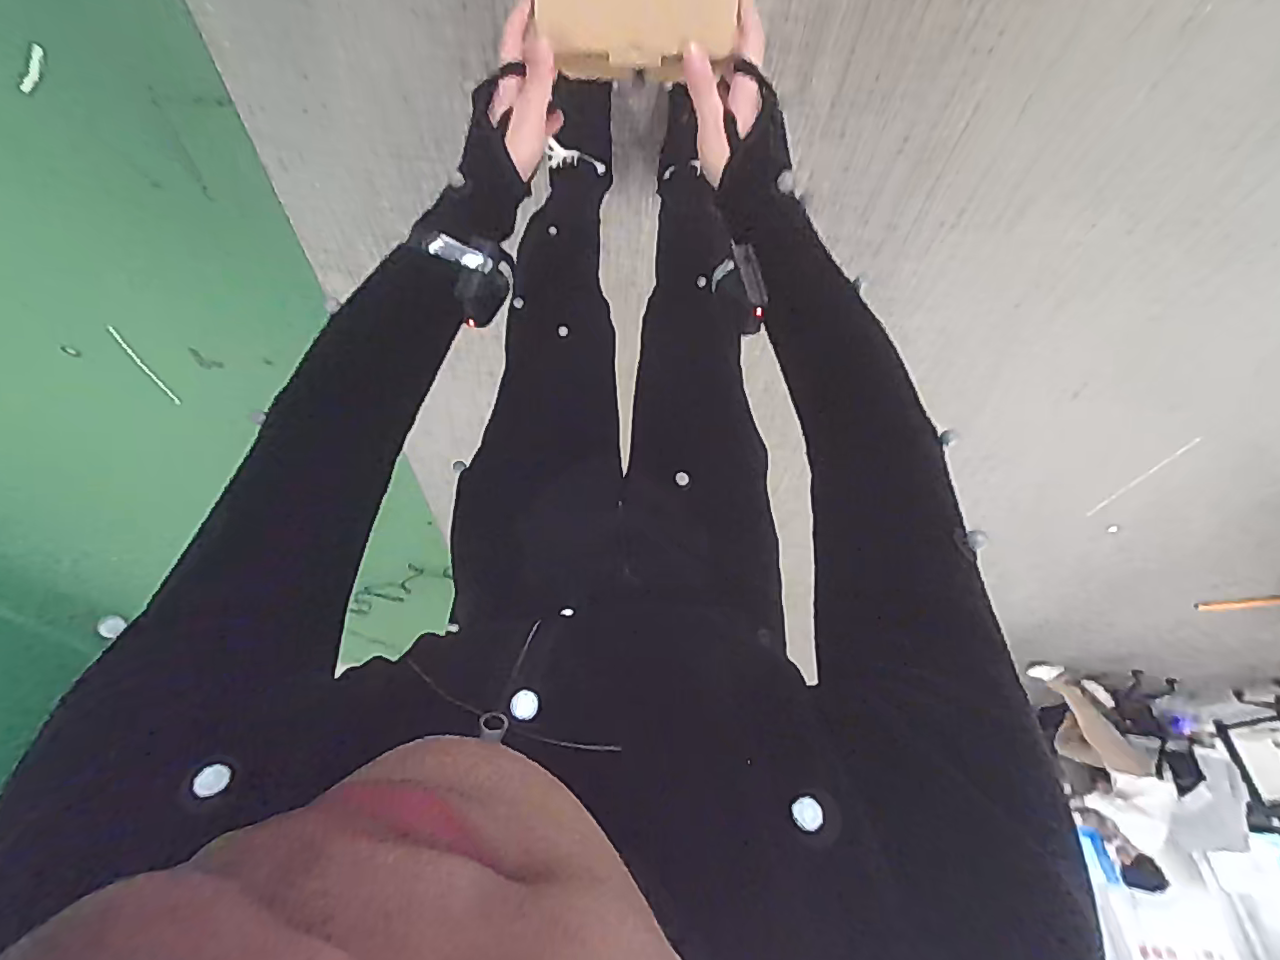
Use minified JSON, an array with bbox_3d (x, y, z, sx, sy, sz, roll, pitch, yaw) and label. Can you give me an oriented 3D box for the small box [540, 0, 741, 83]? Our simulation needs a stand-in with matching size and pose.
[{"bbox_3d":[0.006,-0.465,0.476,0.168,0.176,0.179,2,122,1],"label":"small box"}]
